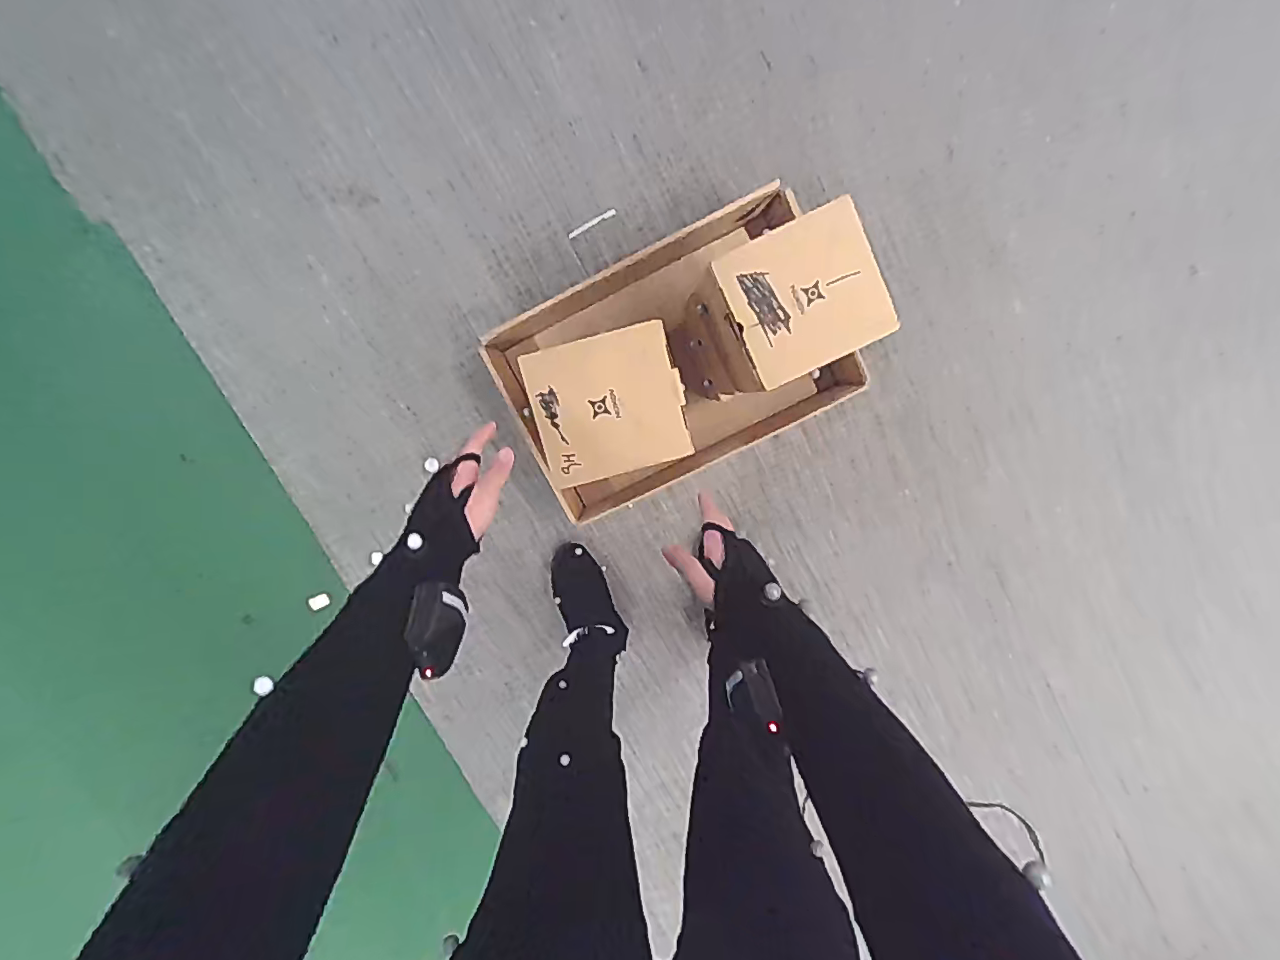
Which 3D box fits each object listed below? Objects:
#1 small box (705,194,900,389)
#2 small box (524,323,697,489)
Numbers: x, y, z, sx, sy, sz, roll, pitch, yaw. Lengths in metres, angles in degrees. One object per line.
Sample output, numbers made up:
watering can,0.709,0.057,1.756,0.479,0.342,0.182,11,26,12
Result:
small box,0.193,-0.225,0.700,0.179,0.176,0.168,-25,98,4
small box,-0.037,-0.099,0.718,0.179,0.176,0.168,-15,98,0
